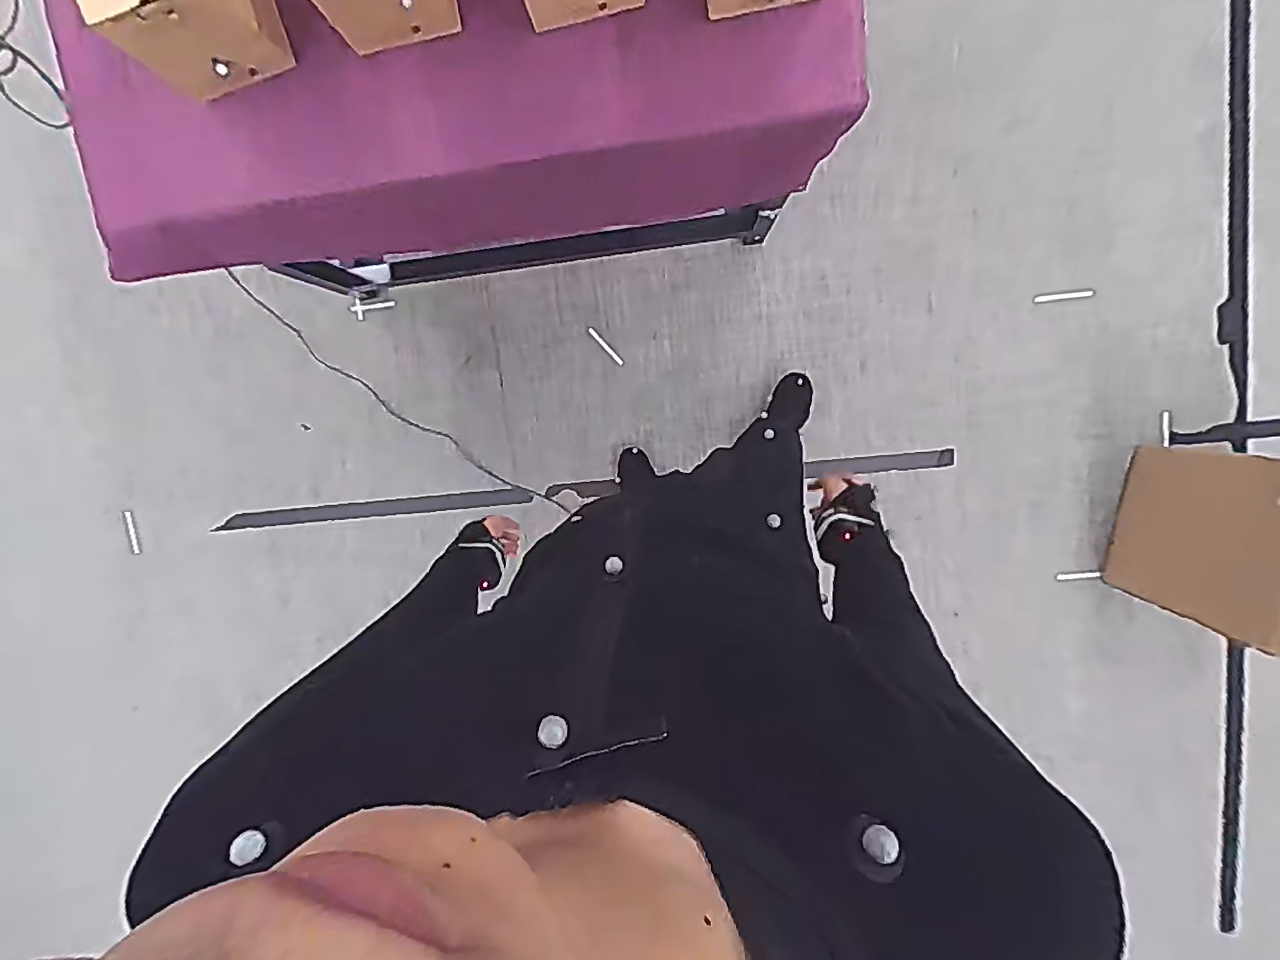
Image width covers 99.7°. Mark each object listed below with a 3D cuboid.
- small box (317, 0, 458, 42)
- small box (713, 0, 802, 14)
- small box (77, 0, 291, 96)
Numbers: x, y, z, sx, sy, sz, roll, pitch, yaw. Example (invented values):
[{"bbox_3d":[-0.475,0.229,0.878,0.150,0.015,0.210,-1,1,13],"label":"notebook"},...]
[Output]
[{"bbox_3d":[-0.358,-0.723,0.710,0.168,0.176,0.179,-9,97,4],"label":"small box"},{"bbox_3d":[0.166,-0.744,0.673,0.168,0.176,0.179,-8,98,5],"label":"small box"},{"bbox_3d":[-0.623,-0.675,0.730,0.168,0.176,0.179,-16,97,6],"label":"small box"}]
